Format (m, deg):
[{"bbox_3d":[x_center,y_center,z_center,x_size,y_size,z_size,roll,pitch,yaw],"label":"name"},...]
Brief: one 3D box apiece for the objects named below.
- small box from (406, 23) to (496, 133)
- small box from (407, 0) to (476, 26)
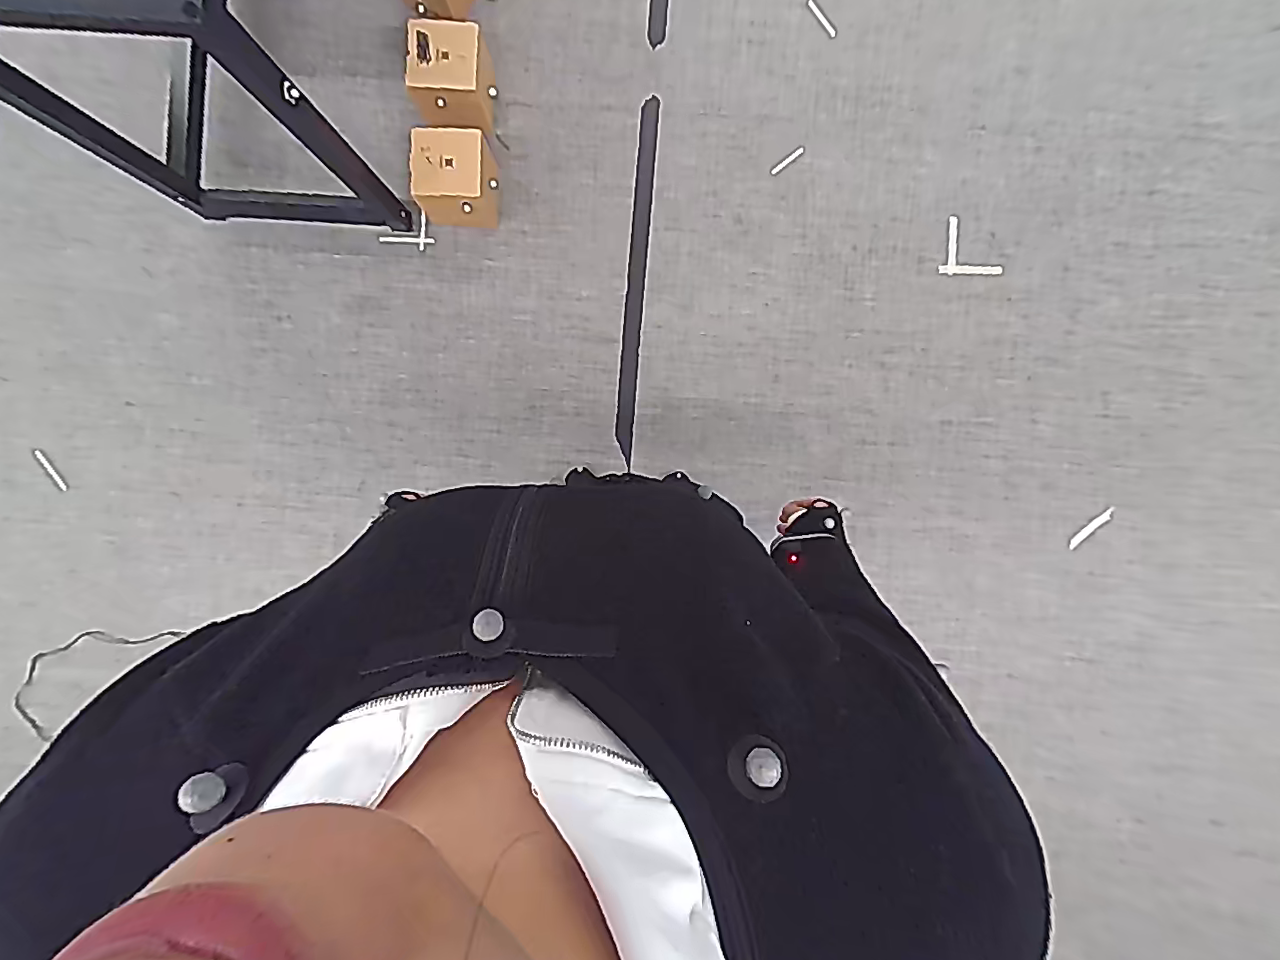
[{"bbox_3d":[-0.487,-1.039,1.410,0.179,0.176,0.168,3,91,-1],"label":"small box"},{"bbox_3d":[-0.532,-1.337,1.406,0.168,0.176,0.179,25,92,1],"label":"small box"}]
